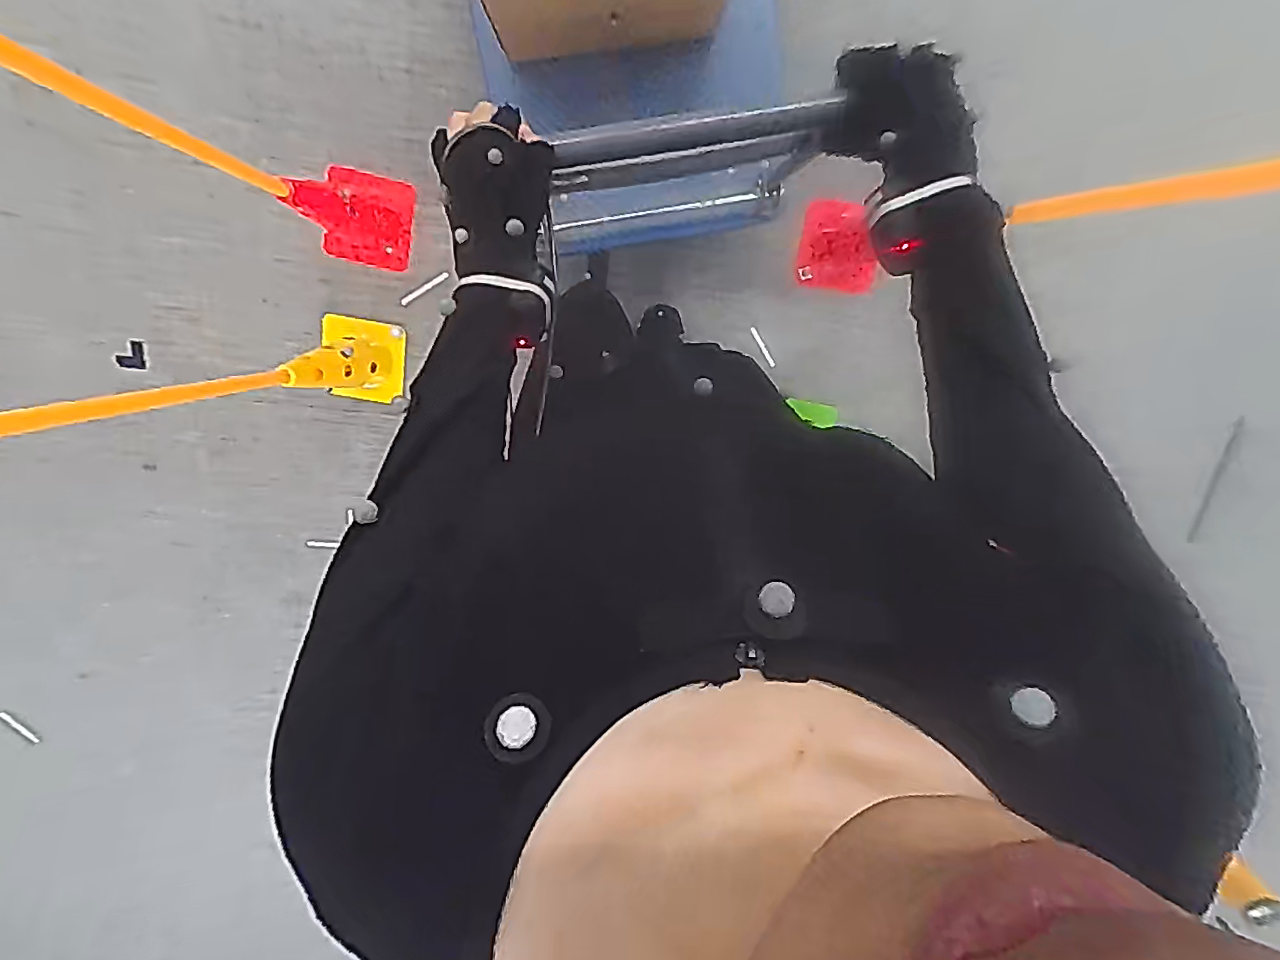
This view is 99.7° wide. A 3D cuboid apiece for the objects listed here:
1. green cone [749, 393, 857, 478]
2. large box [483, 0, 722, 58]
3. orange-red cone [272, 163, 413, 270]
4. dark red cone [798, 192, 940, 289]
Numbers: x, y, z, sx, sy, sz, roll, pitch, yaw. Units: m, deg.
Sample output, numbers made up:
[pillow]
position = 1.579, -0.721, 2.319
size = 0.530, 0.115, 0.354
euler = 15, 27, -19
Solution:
[green cone]
position = 0.421, -0.074, 1.306
size = 0.202, 0.368, 0.200
euler = 9, 107, -7
[large box]
position = -0.069, -0.936, 0.858
size = 0.408, 0.320, 0.320
euler = -8, 108, 1
[orange-red cone]
position = -0.631, -0.565, 1.101
size = 0.198, 0.360, 0.199
euler = 13, 105, -8
[dark red cone]
position = 0.501, -0.526, 1.149
size = 0.201, 0.394, 0.202
euler = 5, 108, -7
